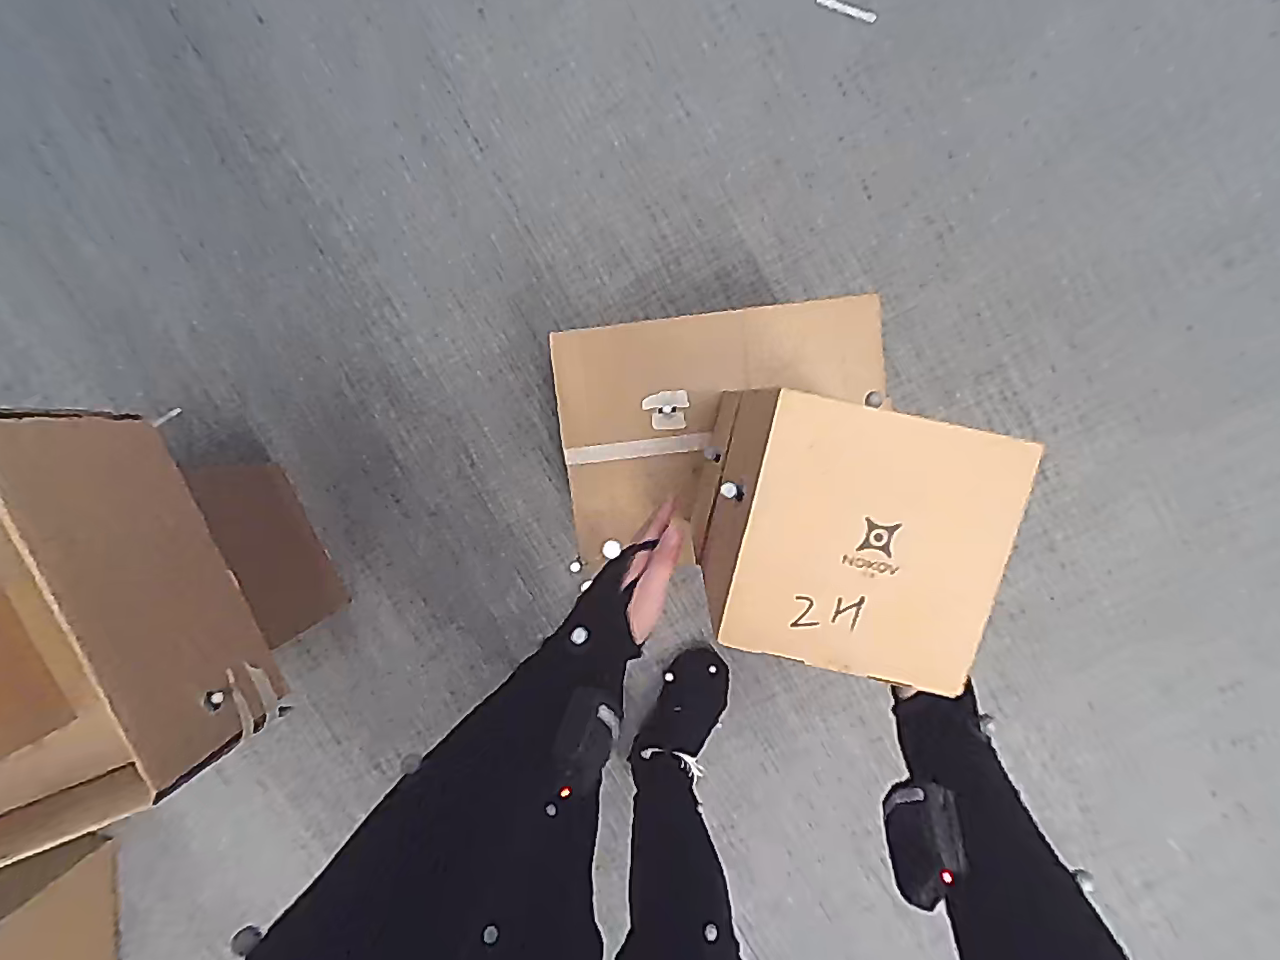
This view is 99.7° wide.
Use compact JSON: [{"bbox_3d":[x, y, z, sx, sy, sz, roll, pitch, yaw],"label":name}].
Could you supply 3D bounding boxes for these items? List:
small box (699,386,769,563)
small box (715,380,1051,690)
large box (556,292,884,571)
[{"bbox_3d":[0.164,0.002,0.589,0.168,0.176,0.179,14,100,1],"label":"small box"},{"bbox_3d":[0.159,0.027,0.424,0.168,0.176,0.179,13,100,2],"label":"small box"},{"bbox_3d":[0.118,-0.073,0.828,0.408,0.320,0.320,-6,96,5],"label":"large box"}]
